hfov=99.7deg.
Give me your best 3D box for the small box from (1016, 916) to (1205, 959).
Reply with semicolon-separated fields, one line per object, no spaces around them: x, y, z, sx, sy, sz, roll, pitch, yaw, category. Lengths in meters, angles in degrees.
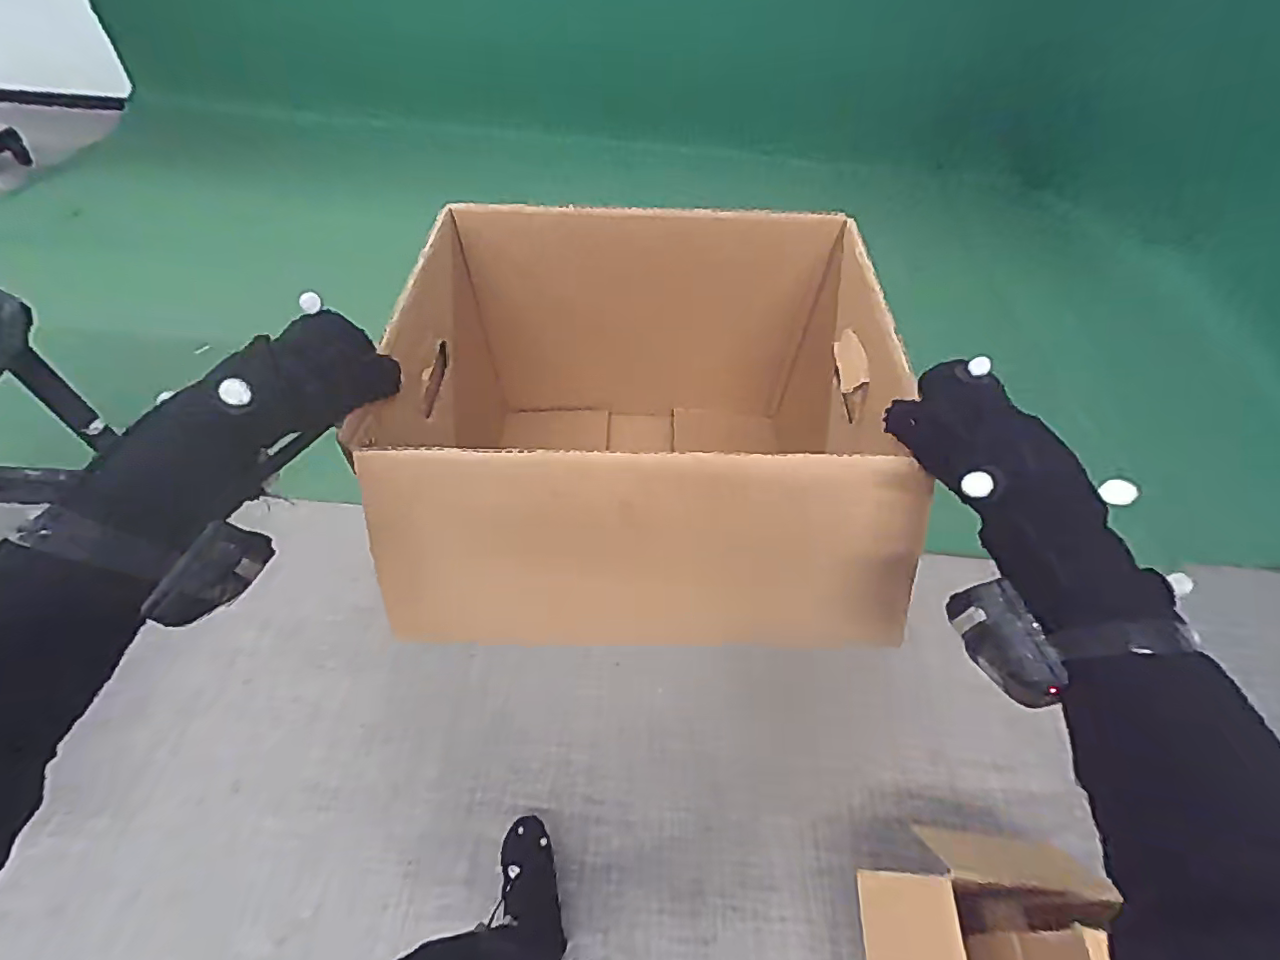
0.677;0.740;0.759;0.168;0.176;0.179;6;49;3;small box
